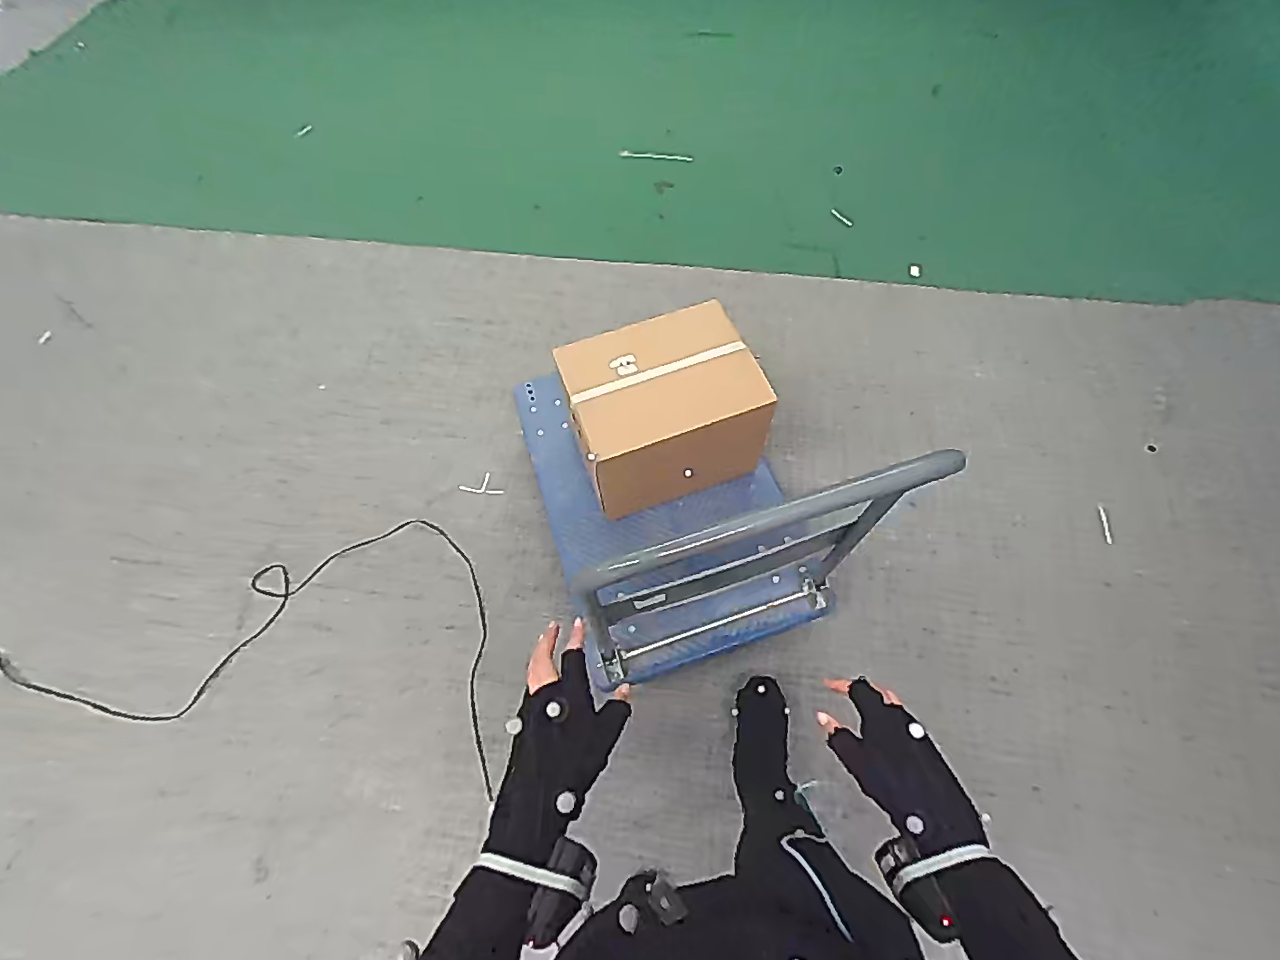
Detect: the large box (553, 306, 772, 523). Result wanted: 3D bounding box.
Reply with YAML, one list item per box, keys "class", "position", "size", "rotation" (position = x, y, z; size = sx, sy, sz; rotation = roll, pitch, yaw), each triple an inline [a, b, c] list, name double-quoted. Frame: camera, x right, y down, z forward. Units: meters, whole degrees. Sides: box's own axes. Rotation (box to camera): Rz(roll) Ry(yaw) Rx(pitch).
- class: "large box"
  position: [0.051, -0.147, 1.302]
  size: [0.408, 0.320, 0.320]
  rotation: [-20, 63, -7]
